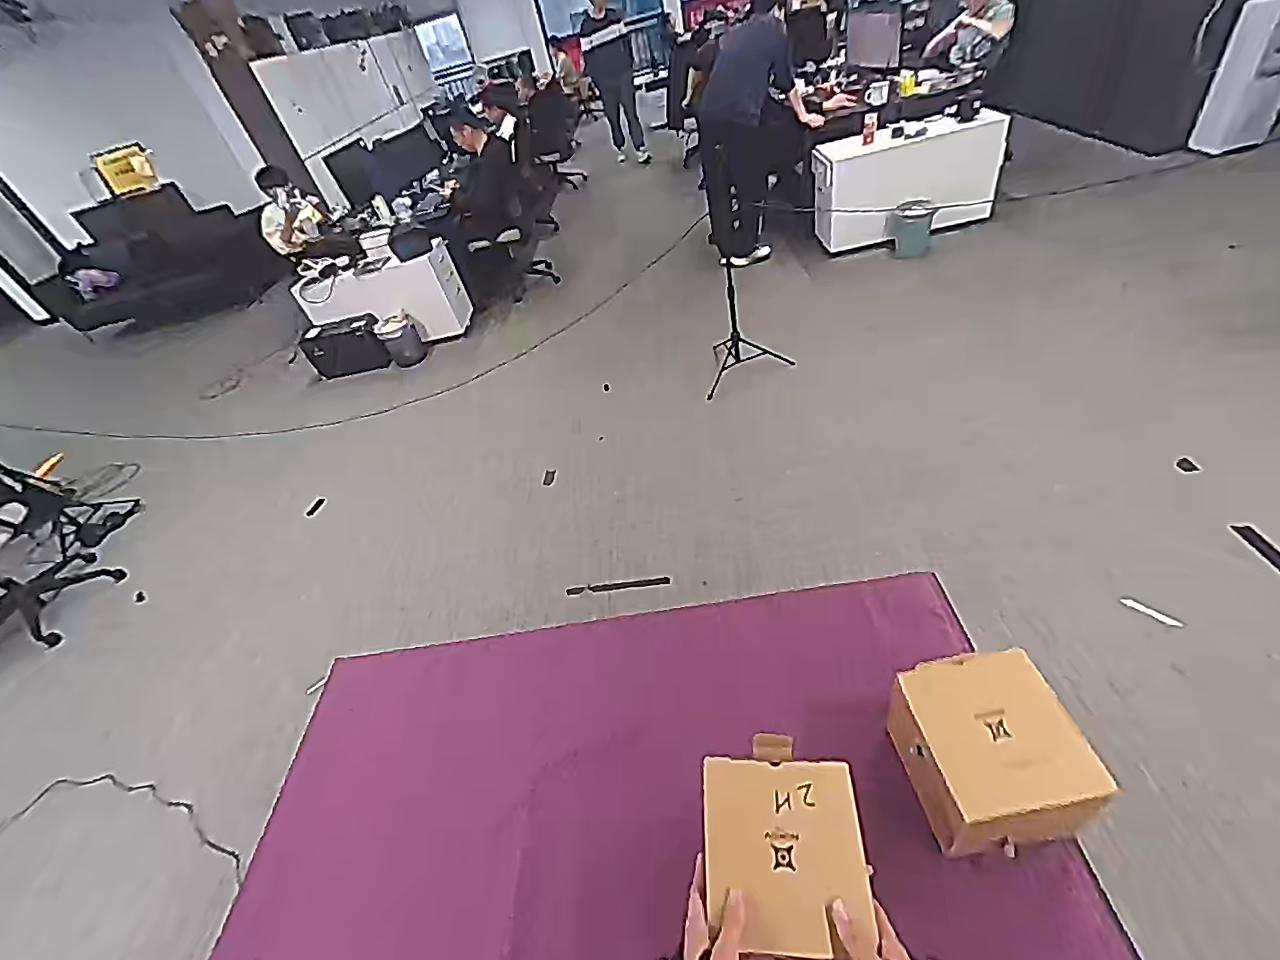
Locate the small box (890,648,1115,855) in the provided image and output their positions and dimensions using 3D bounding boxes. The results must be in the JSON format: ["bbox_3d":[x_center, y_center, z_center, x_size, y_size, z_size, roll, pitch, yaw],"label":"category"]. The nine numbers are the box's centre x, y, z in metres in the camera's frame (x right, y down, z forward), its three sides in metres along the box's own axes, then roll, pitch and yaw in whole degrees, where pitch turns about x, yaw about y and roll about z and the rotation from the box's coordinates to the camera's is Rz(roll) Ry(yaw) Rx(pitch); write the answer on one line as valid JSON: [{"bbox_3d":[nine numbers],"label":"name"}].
[{"bbox_3d":[0.441,0.350,0.699,0.168,0.176,0.179,-14,41,5],"label":"small box"}]

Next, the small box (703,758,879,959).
[{"bbox_3d":[0.157,0.443,0.622,0.168,0.176,0.179,0,47,6],"label":"small box"}]
